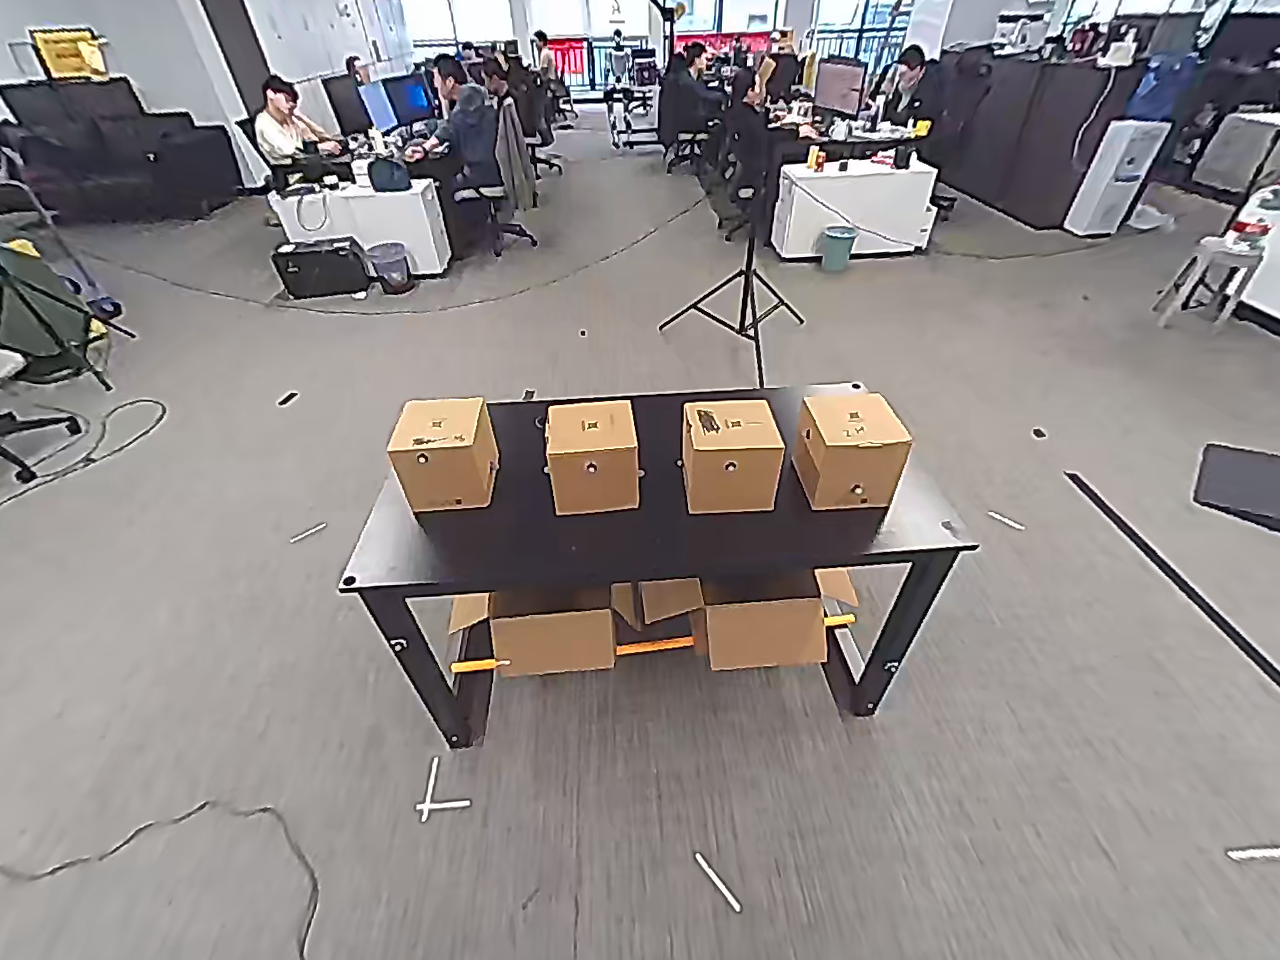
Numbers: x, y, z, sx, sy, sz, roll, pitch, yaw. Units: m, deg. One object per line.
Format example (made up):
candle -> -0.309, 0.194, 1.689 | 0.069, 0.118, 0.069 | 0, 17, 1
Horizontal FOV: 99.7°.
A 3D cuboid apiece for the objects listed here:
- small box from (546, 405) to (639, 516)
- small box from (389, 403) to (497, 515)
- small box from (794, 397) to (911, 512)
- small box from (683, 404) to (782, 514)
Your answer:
small box -> -0.097, -0.039, 1.135 | 0.179, 0.176, 0.168 | -5, 42, -4
small box -> -0.407, -0.046, 1.154 | 0.168, 0.176, 0.179 | -4, 40, -3
small box -> 0.428, -0.054, 1.124 | 0.168, 0.176, 0.179 | -4, 40, 1
small box -> 0.183, -0.041, 1.121 | 0.179, 0.176, 0.168 | -2, 40, 0
